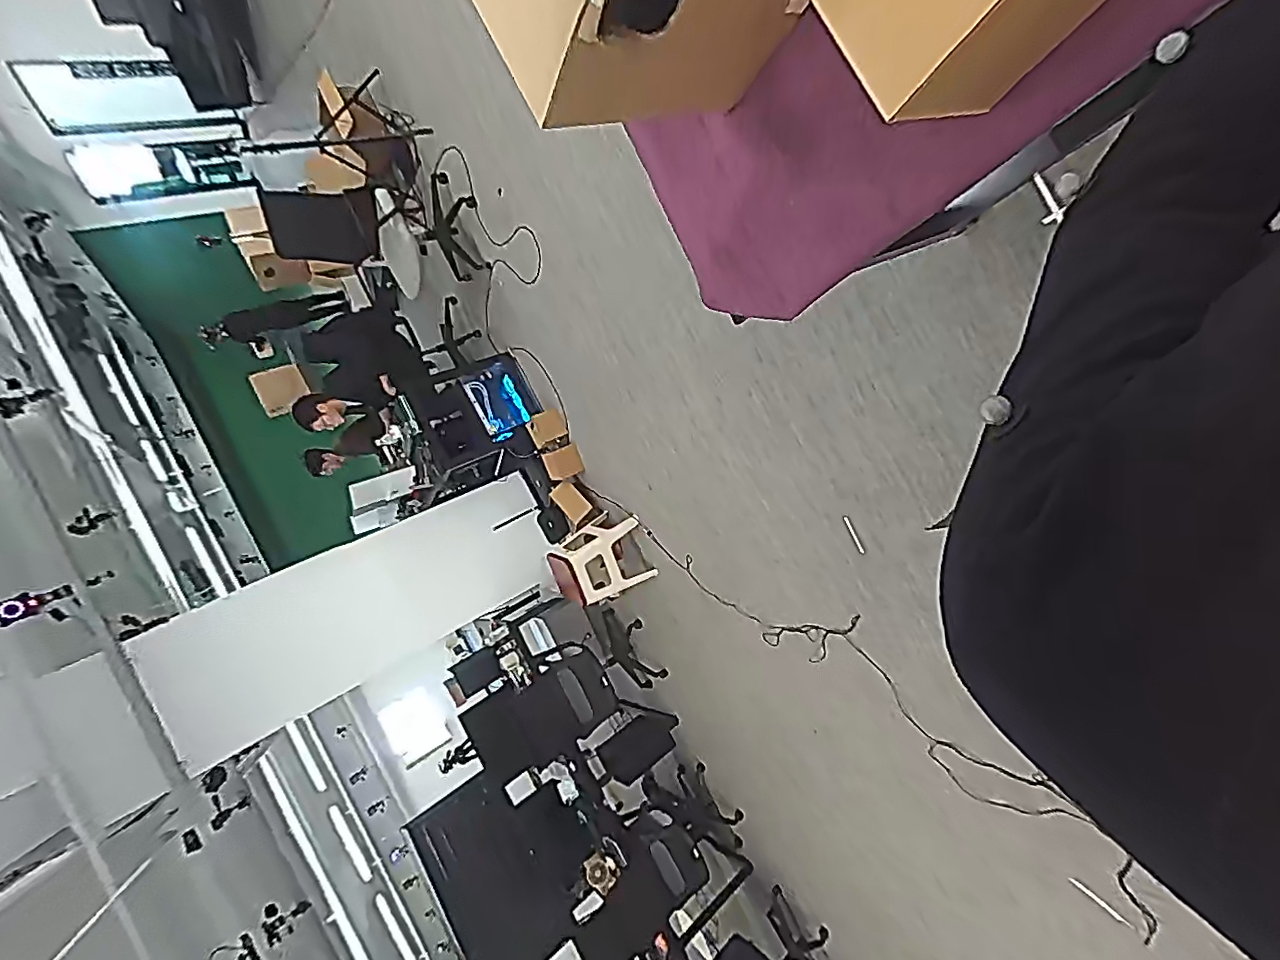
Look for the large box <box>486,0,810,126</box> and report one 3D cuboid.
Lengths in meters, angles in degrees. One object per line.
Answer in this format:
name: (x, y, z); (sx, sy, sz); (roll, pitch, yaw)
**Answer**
large box: (-0.010, -0.665, 0.547); (0.408, 0.320, 0.320); (60, 151, 0)
